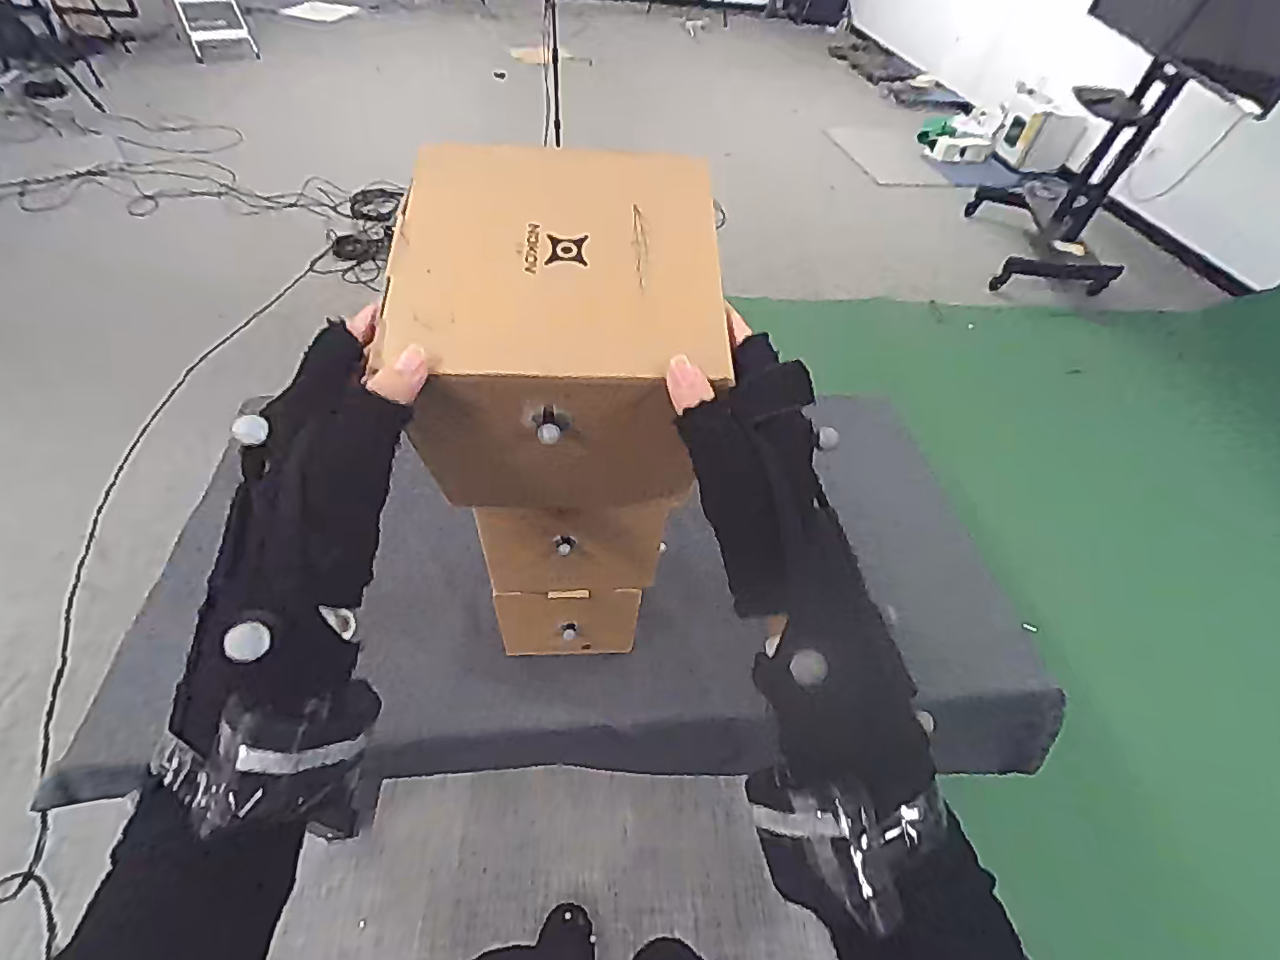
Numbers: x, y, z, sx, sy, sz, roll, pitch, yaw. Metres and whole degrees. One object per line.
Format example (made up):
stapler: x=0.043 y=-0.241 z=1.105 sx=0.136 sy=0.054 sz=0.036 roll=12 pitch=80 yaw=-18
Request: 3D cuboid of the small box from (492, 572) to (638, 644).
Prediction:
small box: x=-0.091 y=0.105 z=0.710 sx=0.168 sy=0.176 sz=0.179 roll=-1 pitch=51 yaw=-6

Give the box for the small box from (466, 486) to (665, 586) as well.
small box: x=-0.075 y=0.001 z=0.583 sx=0.179 sy=0.176 sz=0.168 roll=-2 pitch=50 yaw=-5

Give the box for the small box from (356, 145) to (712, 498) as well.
small box: x=-0.057 y=-0.093 z=0.368 sx=0.179 sy=0.176 sz=0.168 roll=-1 pitch=66 yaw=-5
